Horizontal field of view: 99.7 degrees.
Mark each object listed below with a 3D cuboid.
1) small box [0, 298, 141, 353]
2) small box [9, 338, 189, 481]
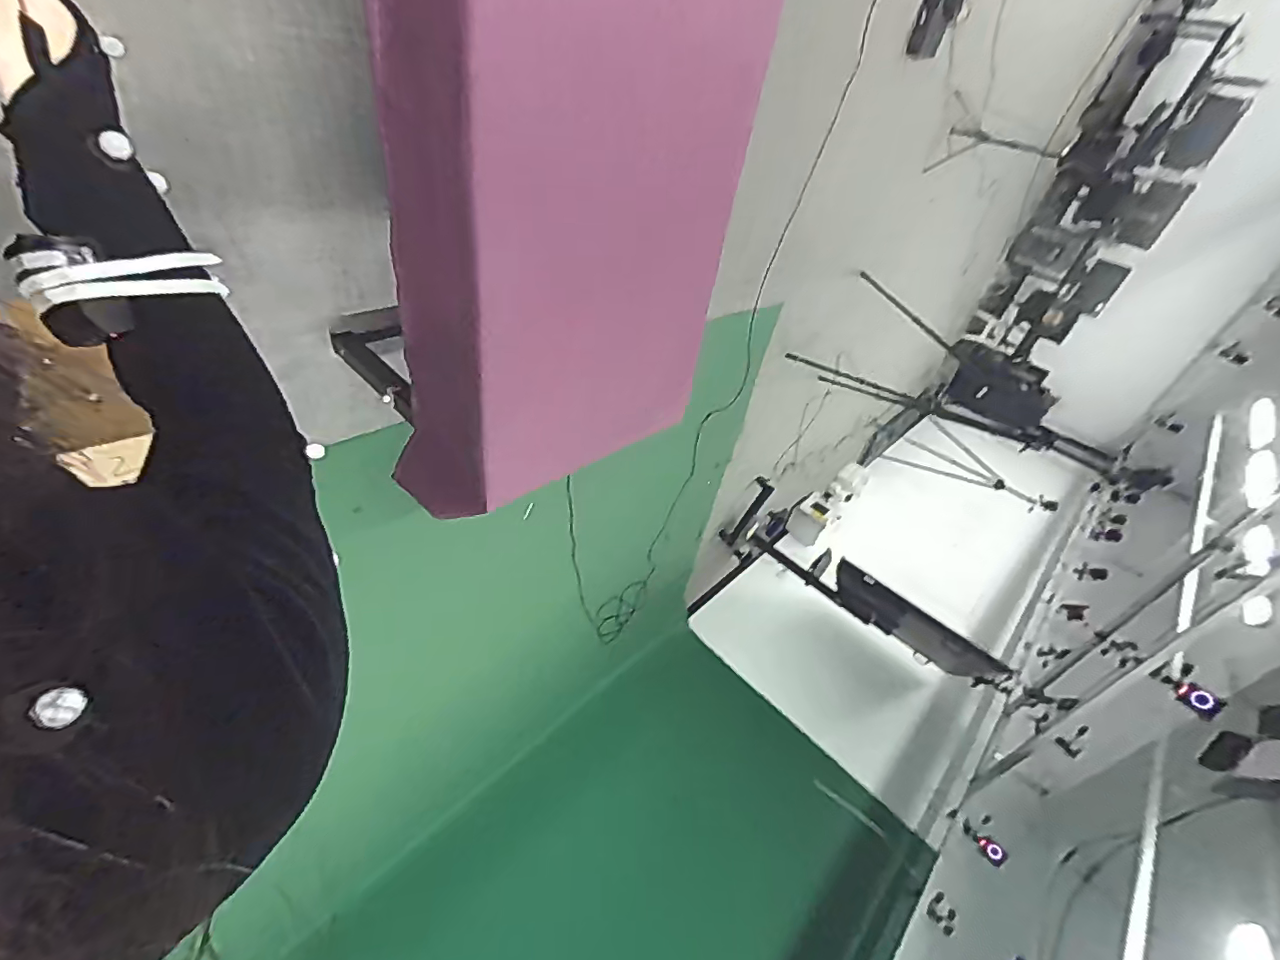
[{"bbox_3d":[-1.058,-0.230,1.021,0.168,0.176,0.179,-26,144,-41],"label":"small box"},{"bbox_3d":[-0.946,-0.135,0.951,0.168,0.176,0.179,-27,144,-39],"label":"small box"}]
